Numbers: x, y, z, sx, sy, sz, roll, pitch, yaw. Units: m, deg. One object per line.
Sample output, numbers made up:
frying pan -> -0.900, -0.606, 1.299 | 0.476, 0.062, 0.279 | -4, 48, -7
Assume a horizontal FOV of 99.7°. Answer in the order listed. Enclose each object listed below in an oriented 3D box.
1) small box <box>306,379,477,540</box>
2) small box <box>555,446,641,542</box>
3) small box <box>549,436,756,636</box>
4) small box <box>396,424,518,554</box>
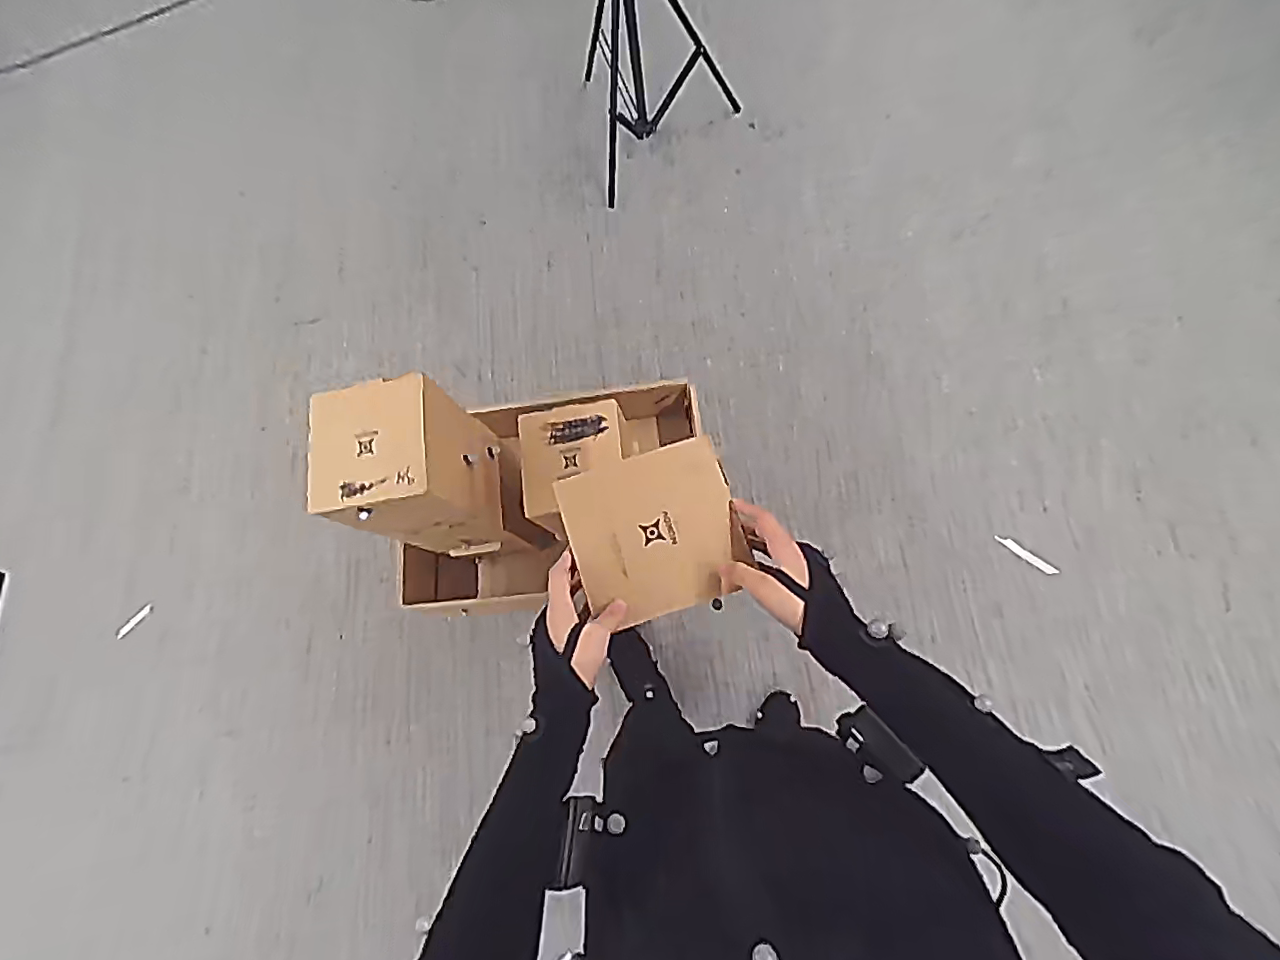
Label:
small box -> -0.352, -0.022, 0.794 | 0.168, 0.176, 0.179 | -10, 72, 5
small box -> -0.068, 0.047, 1.083 | 0.168, 0.176, 0.179 | -6, 74, 7
small box -> 0.011, 0.069, 0.626 | 0.179, 0.176, 0.168 | -18, 78, -3
small box -> -0.324, 0.023, 0.951 | 0.168, 0.176, 0.179 | -10, 73, 5
